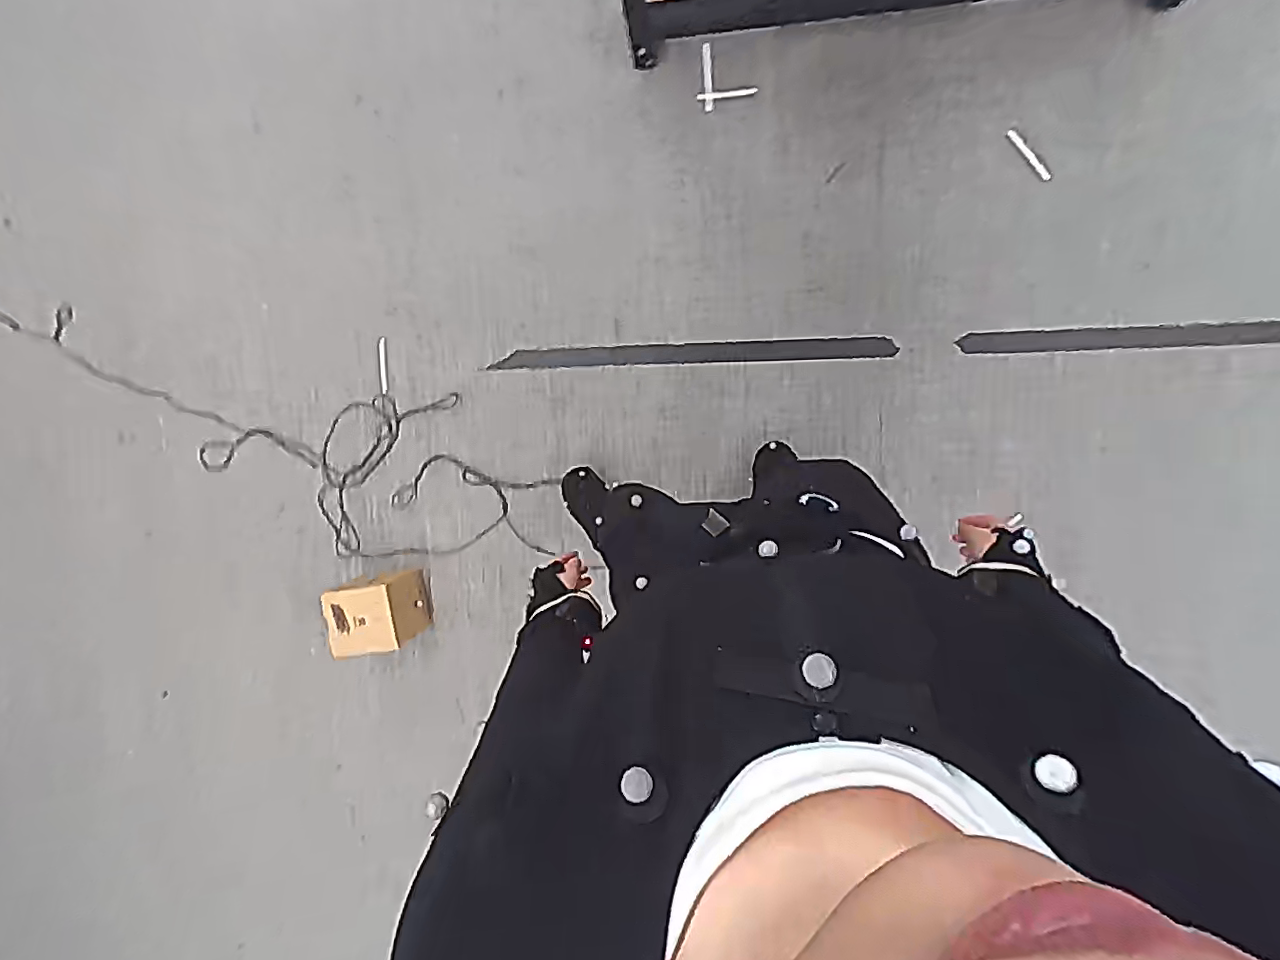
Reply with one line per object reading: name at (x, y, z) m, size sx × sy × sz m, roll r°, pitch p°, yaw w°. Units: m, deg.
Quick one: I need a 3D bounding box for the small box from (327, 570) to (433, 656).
small box at (-0.672, 0.341, 1.413) m, size 0.179 × 0.176 × 0.168 m, roll -9°, pitch 95°, yaw 7°
